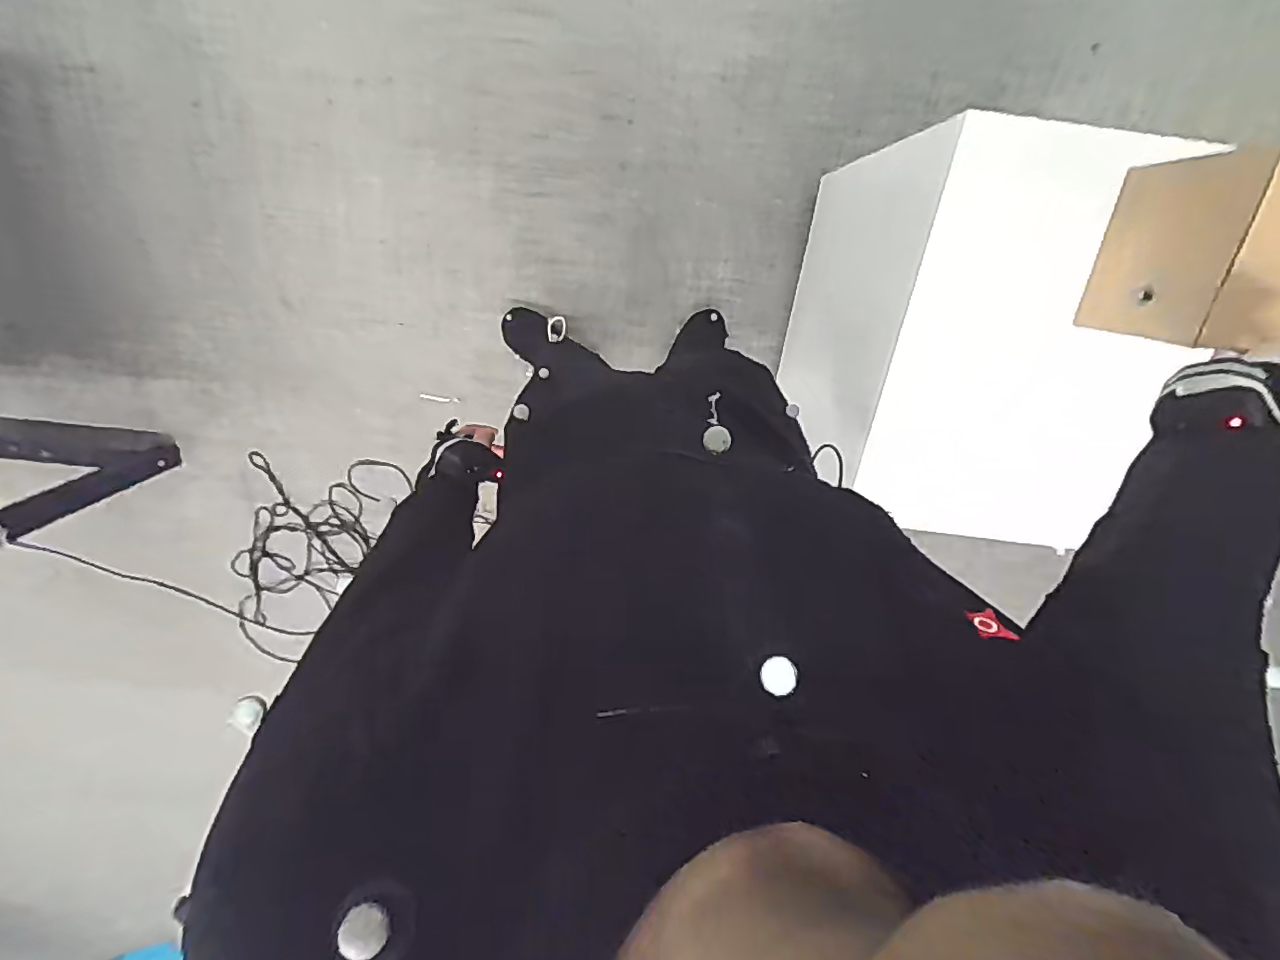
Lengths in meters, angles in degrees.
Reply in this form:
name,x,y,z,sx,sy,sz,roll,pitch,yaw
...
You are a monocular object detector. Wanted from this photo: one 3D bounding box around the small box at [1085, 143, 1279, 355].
name,x,y,z,sx,sy,sz,roll,pitch,yaw
small box,0.618,-0.231,0.559,0.168,0.176,0.179,3,112,0
